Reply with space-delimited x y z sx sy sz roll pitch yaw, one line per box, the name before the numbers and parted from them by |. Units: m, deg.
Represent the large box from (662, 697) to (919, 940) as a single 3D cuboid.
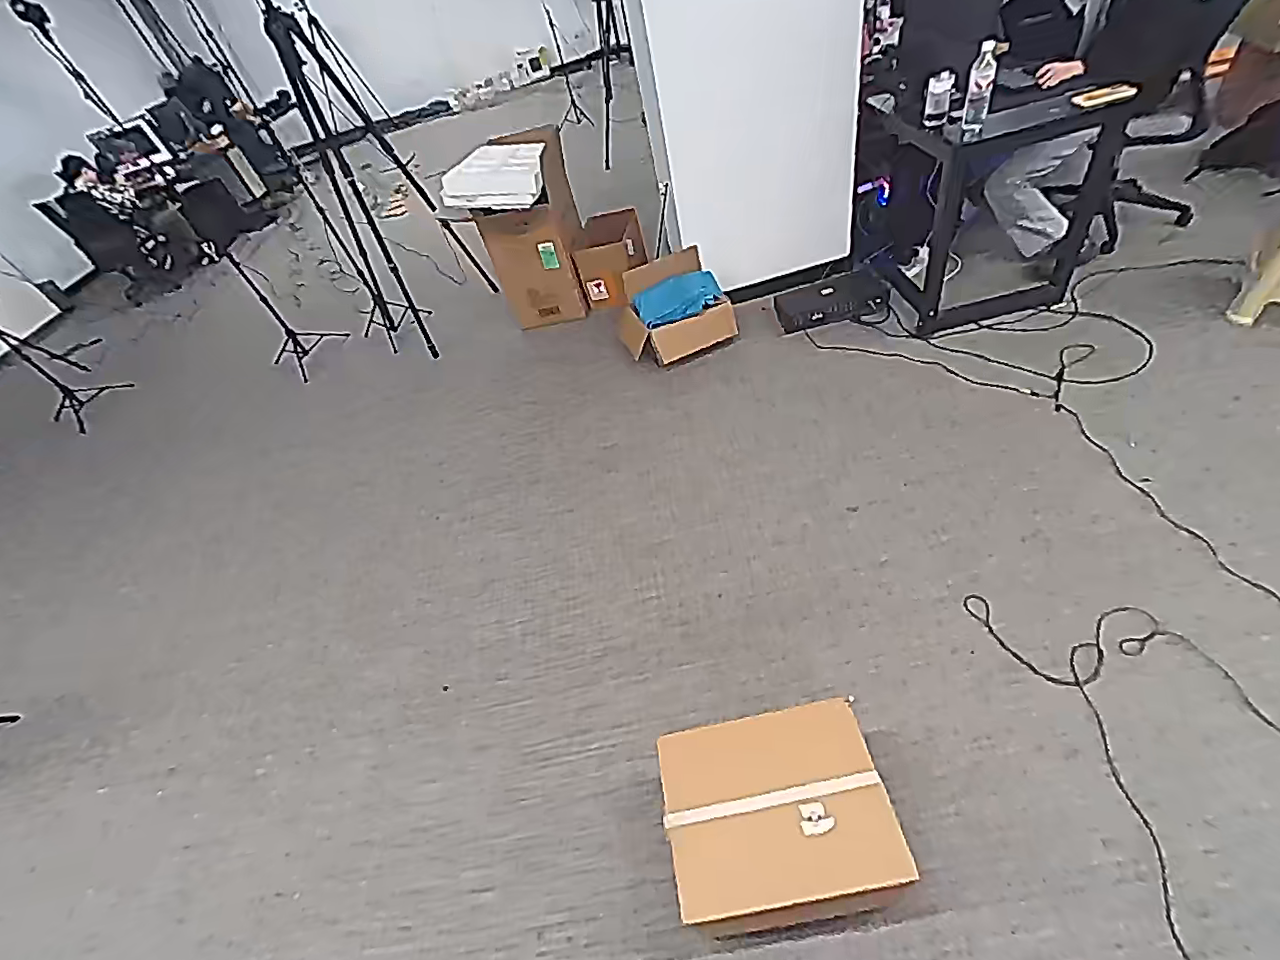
large box | 0.287 0.703 1.118 0.408 0.320 0.320 -14 45 4
